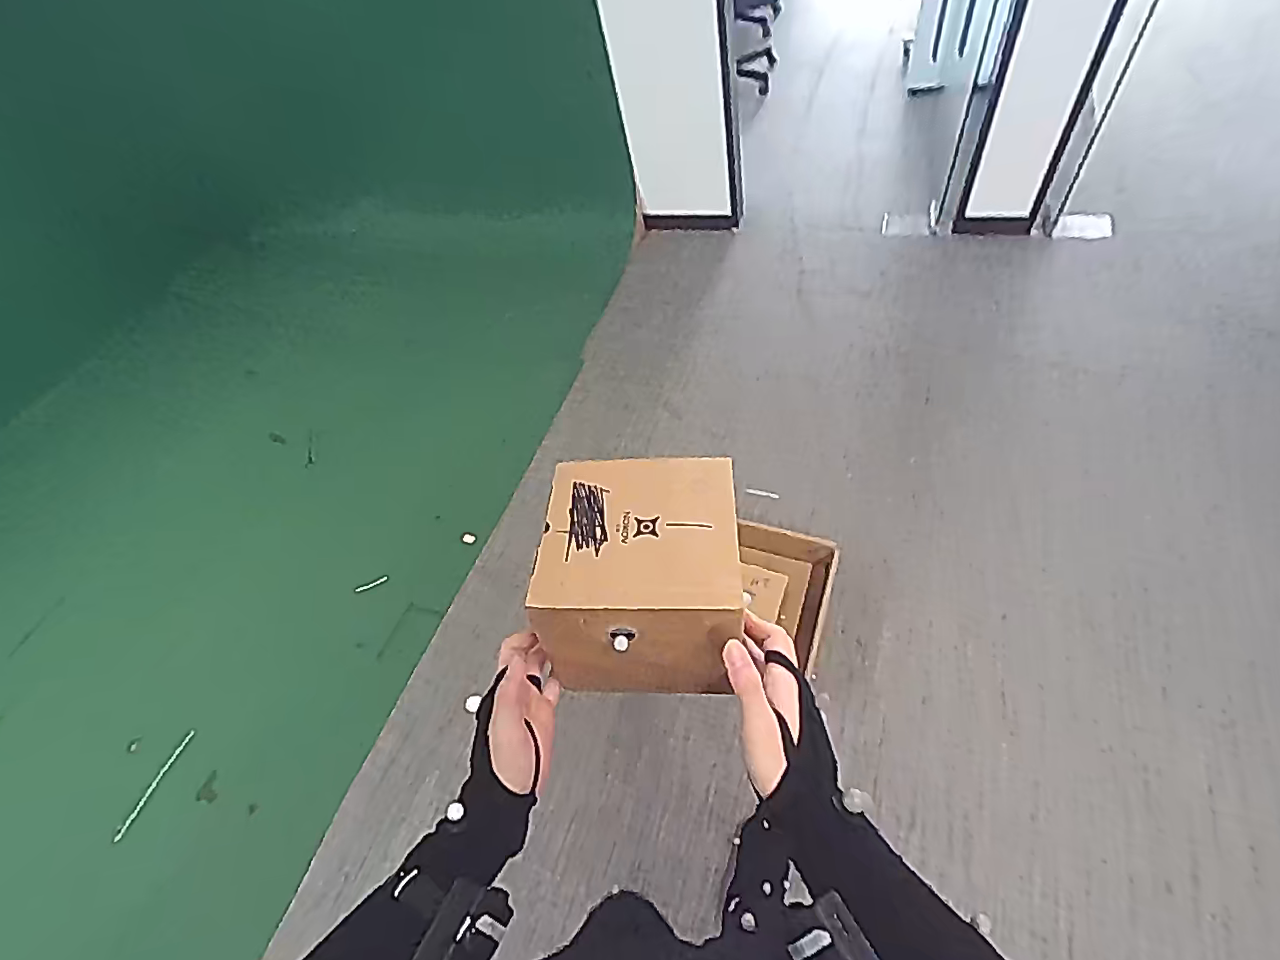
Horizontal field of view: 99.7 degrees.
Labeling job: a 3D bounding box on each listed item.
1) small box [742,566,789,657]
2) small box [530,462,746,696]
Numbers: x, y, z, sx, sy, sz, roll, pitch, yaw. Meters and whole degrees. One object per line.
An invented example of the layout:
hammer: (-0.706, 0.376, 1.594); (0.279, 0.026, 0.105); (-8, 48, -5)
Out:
small box: (0.296, 0.352, 1.448); (0.168, 0.176, 0.179); (15, 62, 23)
small box: (0.009, 0.100, 0.537); (0.179, 0.176, 0.168); (-1, 45, 6)
